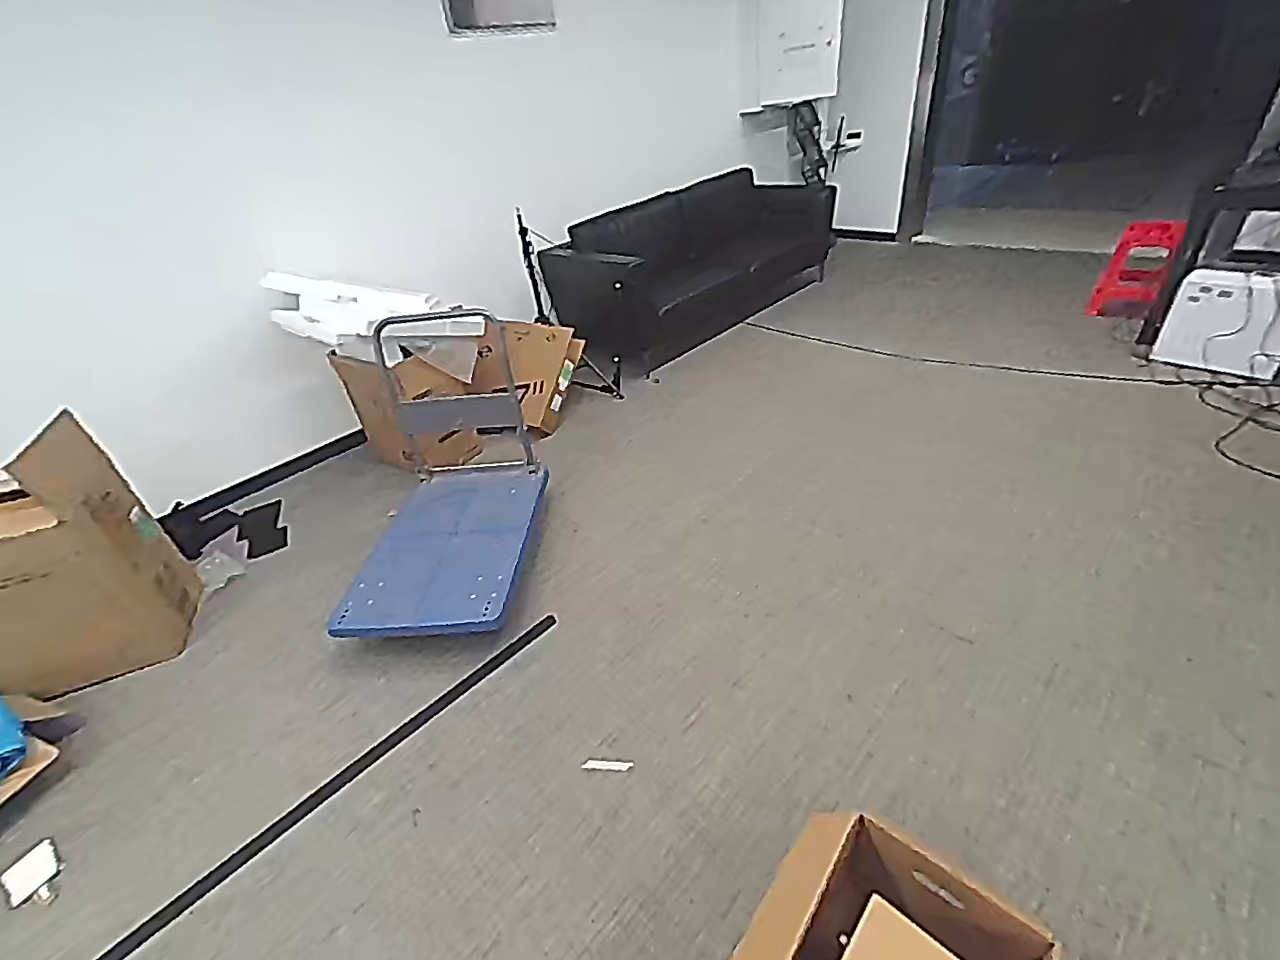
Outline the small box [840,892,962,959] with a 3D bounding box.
[{"bbox_3d":[0.387,0.792,0.819,0.168,0.176,0.179,24,47,38],"label":"small box"}]
